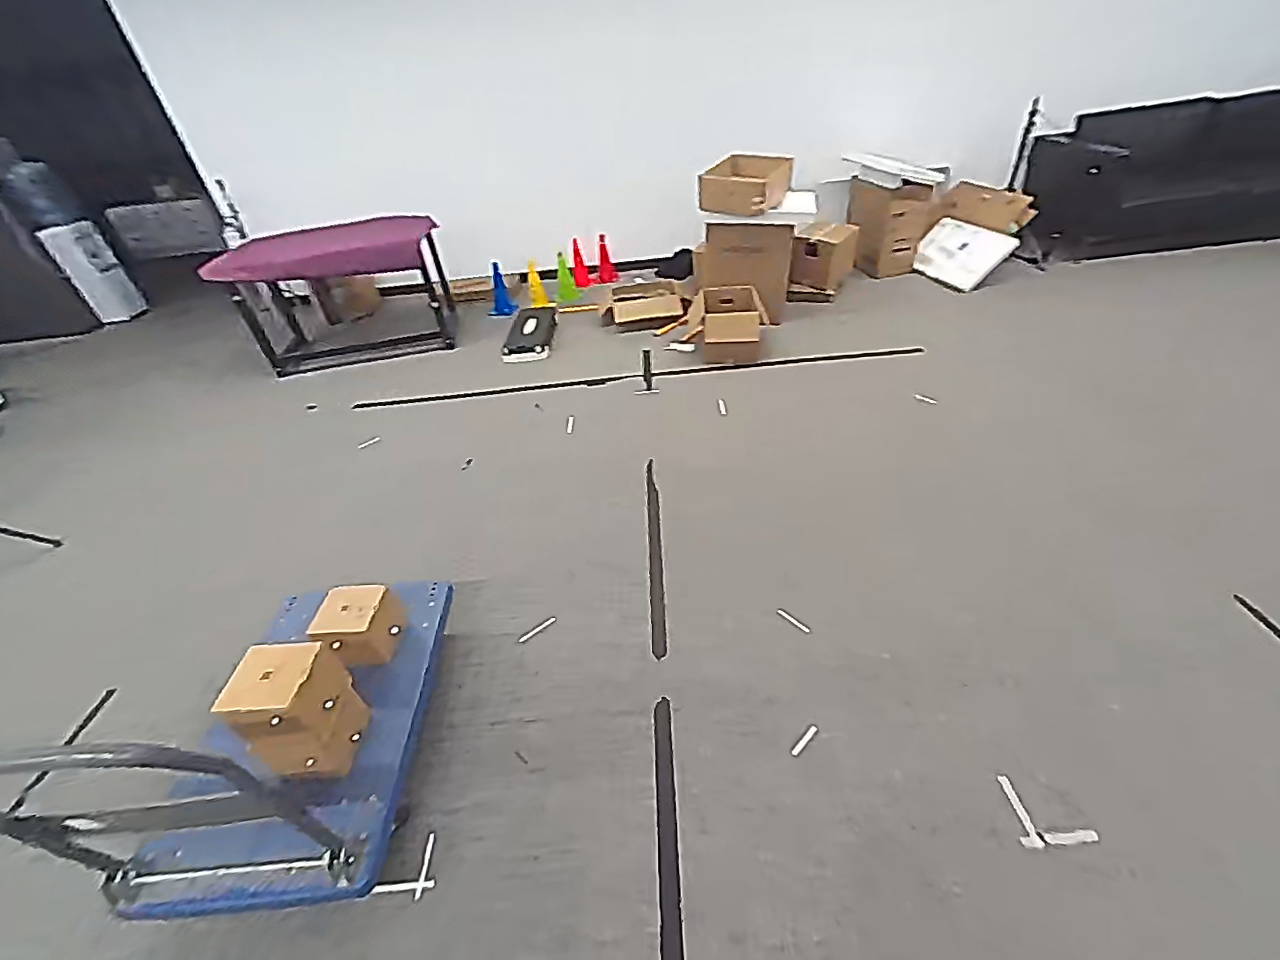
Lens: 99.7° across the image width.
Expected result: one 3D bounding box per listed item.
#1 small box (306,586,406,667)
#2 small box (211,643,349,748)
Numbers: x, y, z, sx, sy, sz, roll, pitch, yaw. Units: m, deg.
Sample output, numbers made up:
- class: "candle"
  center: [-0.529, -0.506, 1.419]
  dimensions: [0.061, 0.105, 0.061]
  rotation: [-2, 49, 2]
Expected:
- class: "small box"
  center: [-0.823, 0.431, 1.585]
  dimensions: [0.179, 0.176, 0.168]
  rotation: [-3, 40, 4]
- class: "small box"
  center: [-0.813, 0.497, 1.244]
  dimensions: [0.179, 0.176, 0.168]
  rotation: [-4, 39, 2]
